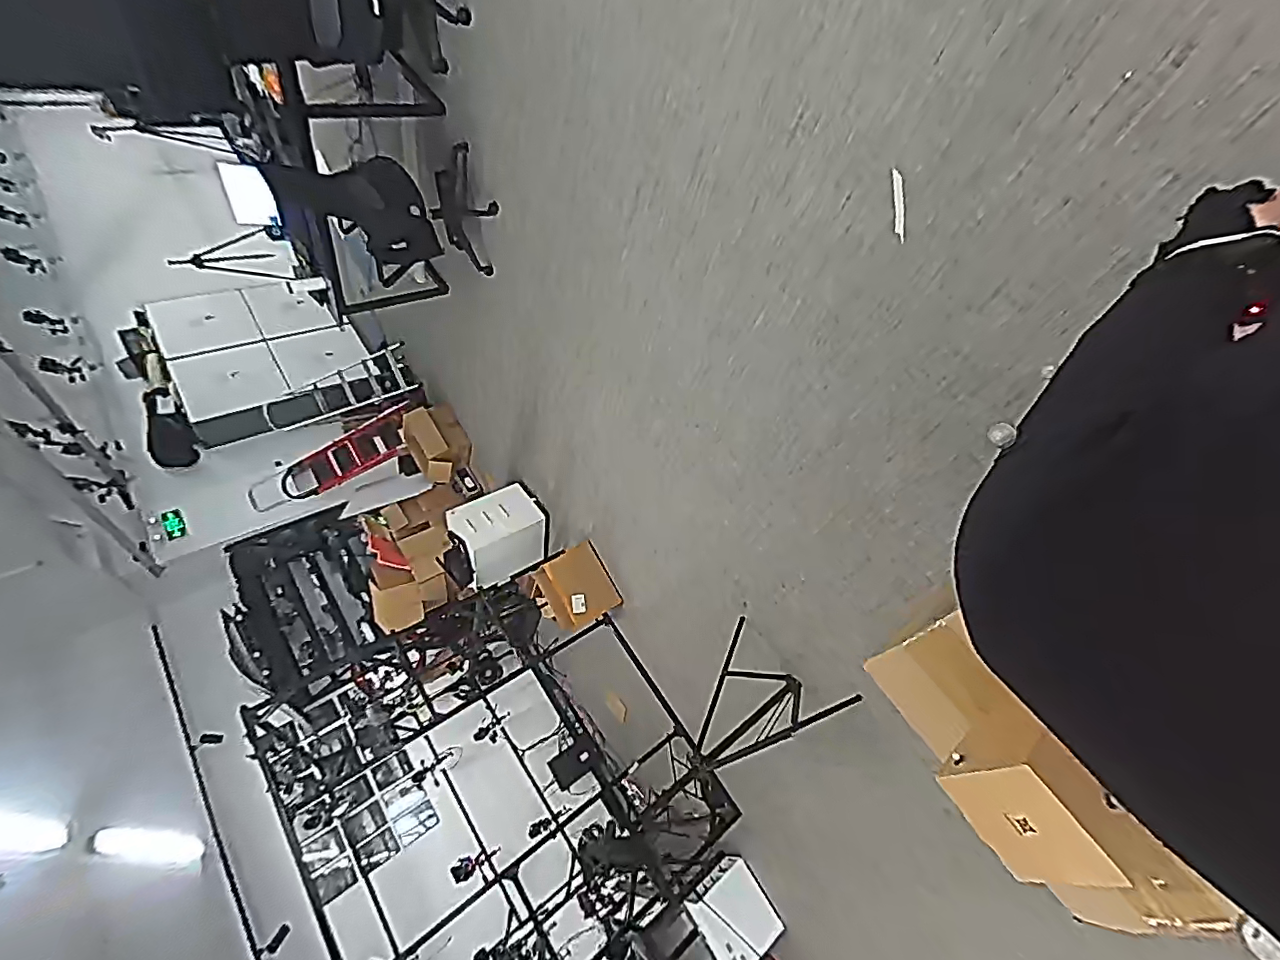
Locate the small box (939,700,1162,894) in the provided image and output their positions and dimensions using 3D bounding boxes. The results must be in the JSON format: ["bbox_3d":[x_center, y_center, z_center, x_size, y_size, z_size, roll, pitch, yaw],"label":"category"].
[{"bbox_3d":[0.582,0.441,0.769,0.168,0.176,0.179,52,147,19],"label":"small box"}]
